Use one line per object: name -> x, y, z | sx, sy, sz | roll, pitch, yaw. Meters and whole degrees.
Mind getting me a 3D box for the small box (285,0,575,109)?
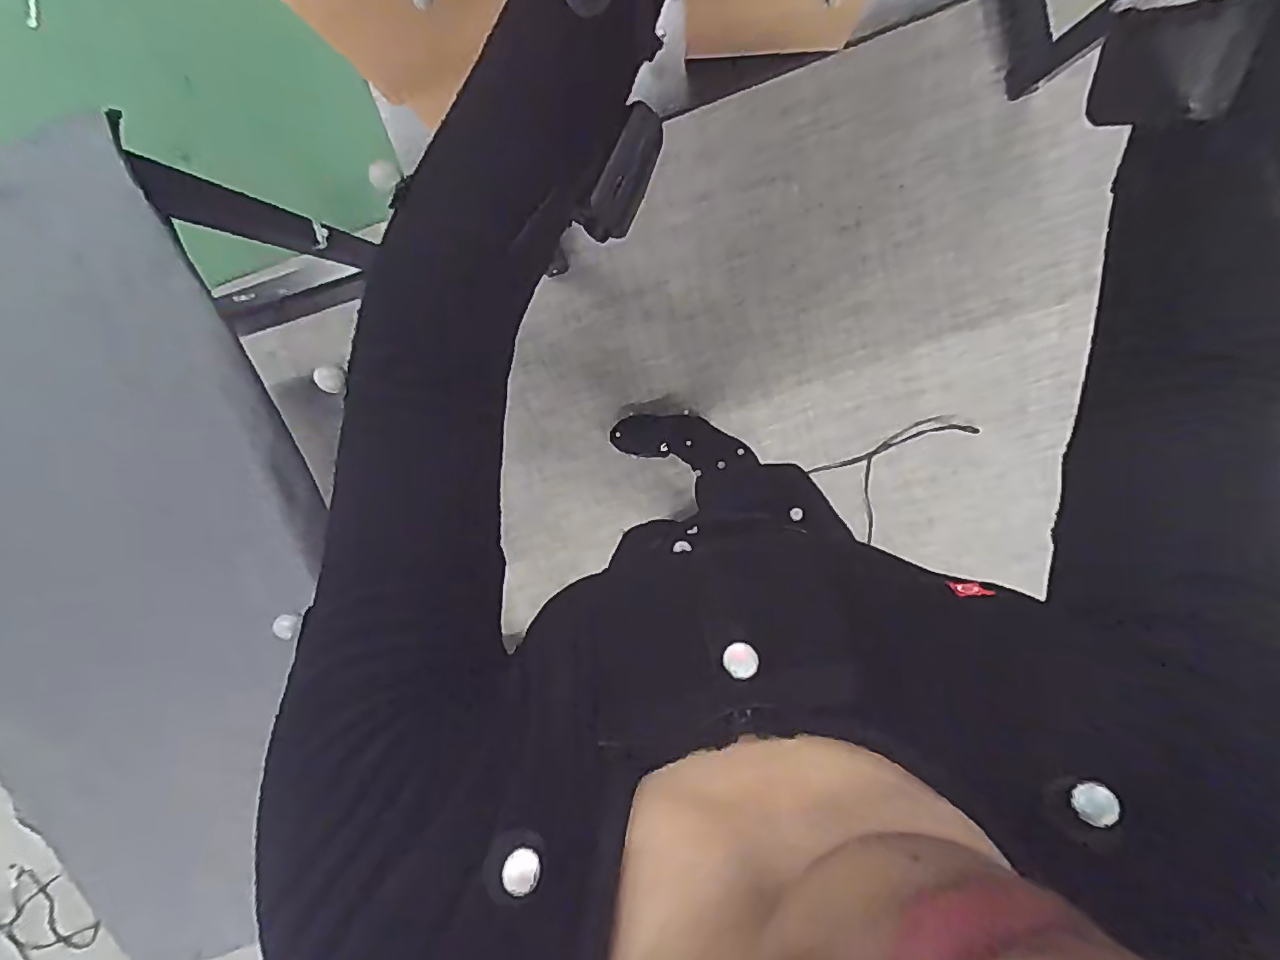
small box -> -0.154, -0.406, 0.378 | 0.179, 0.176, 0.168 | -17, 102, 7
